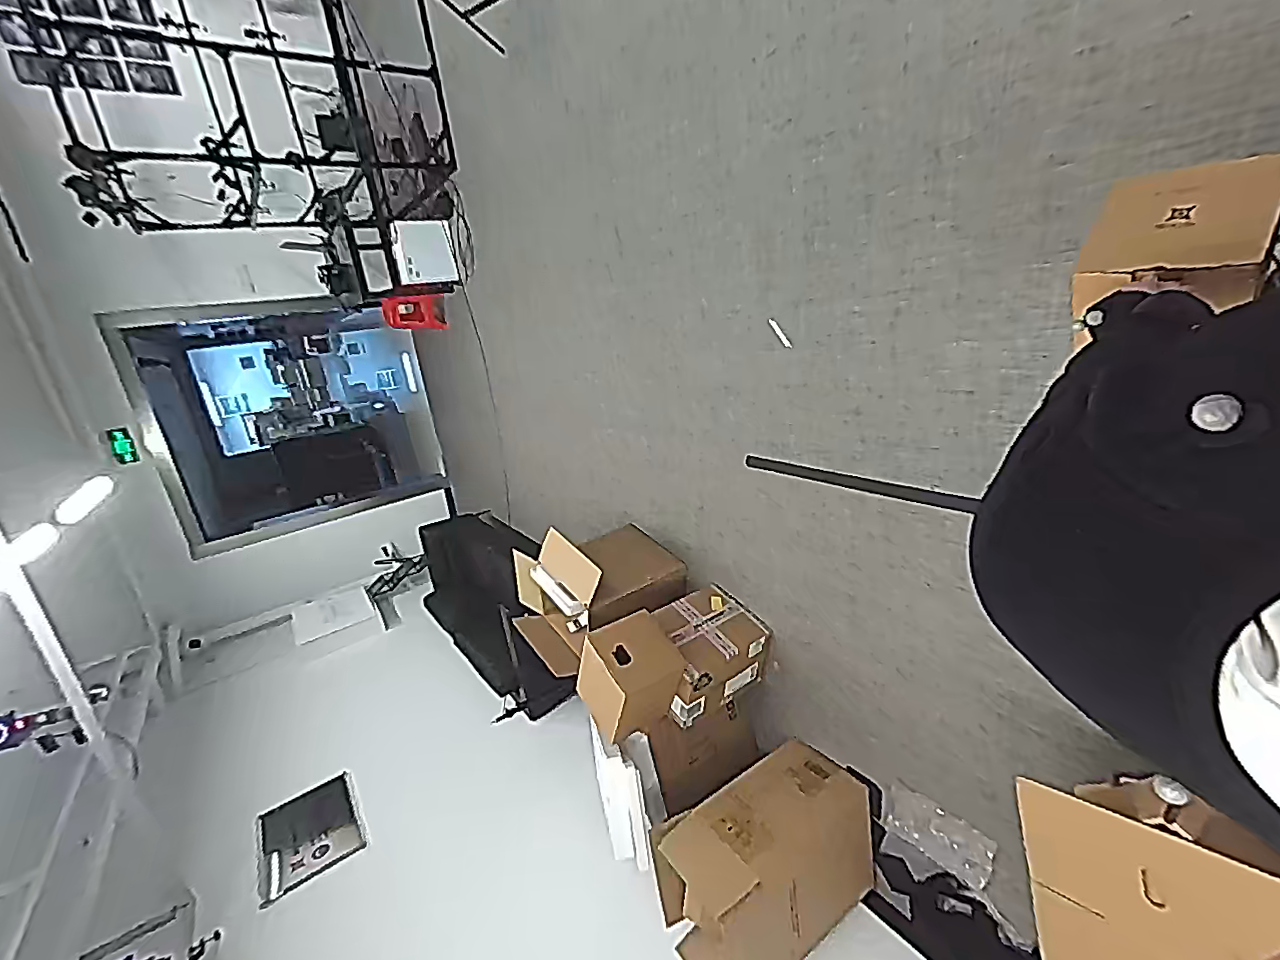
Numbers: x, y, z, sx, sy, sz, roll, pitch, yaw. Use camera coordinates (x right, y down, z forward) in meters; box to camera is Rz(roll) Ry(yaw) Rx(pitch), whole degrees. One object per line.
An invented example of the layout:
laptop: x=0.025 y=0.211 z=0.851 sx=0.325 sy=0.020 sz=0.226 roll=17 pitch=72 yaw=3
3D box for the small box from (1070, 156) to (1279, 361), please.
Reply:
small box: x=0.695 y=-0.276 z=0.708 sx=0.168 sy=0.179 sz=0.176 roll=19 pitch=162 yaw=45
